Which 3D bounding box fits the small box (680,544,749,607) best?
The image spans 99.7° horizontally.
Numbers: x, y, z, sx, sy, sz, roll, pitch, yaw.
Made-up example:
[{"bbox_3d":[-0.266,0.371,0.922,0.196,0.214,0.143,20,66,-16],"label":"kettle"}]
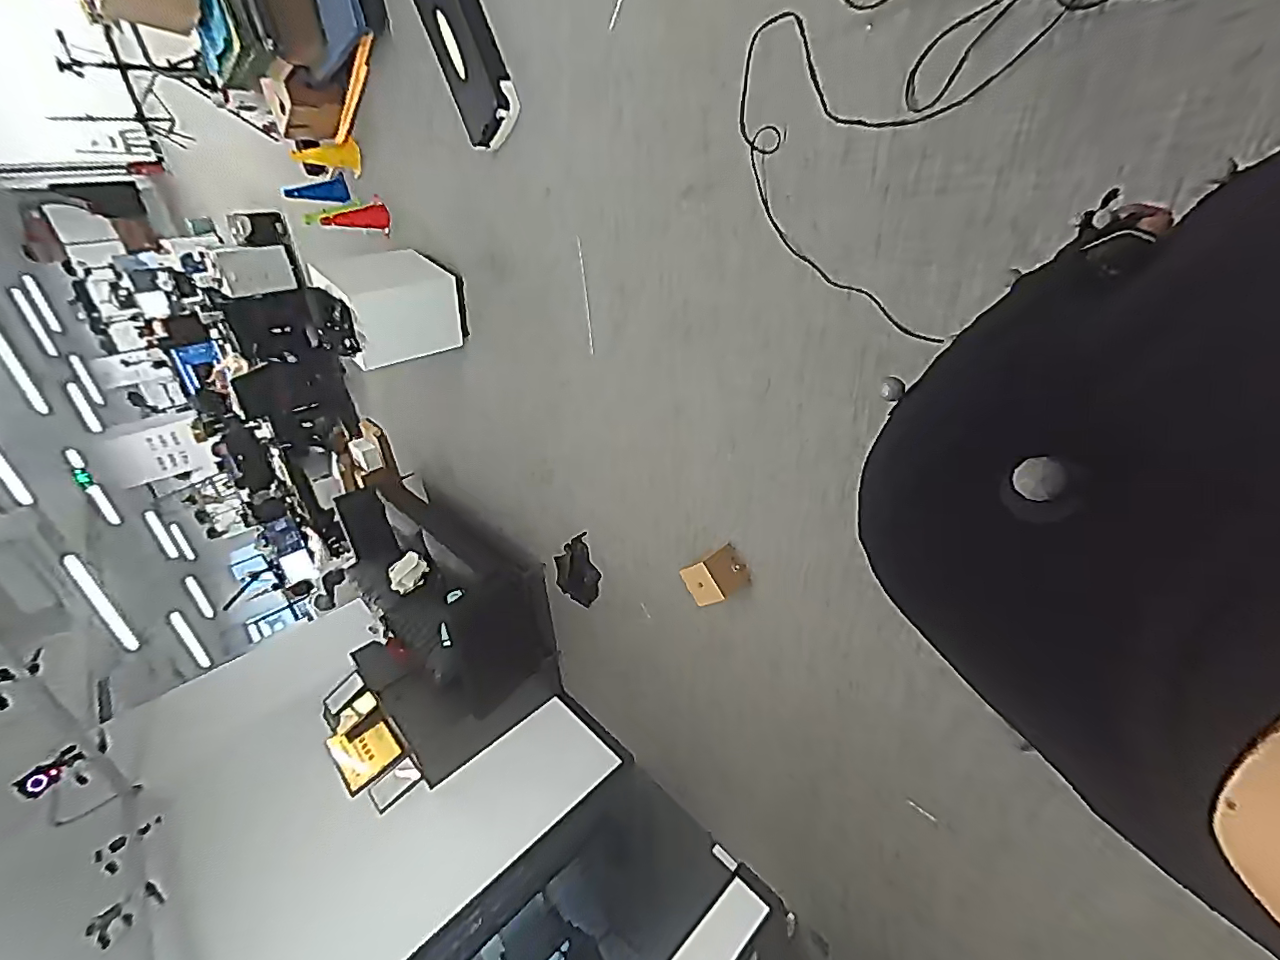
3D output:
[{"bbox_3d":[0.296,0.378,2.137,0.168,0.176,0.179,58,144,4],"label":"small box"}]
